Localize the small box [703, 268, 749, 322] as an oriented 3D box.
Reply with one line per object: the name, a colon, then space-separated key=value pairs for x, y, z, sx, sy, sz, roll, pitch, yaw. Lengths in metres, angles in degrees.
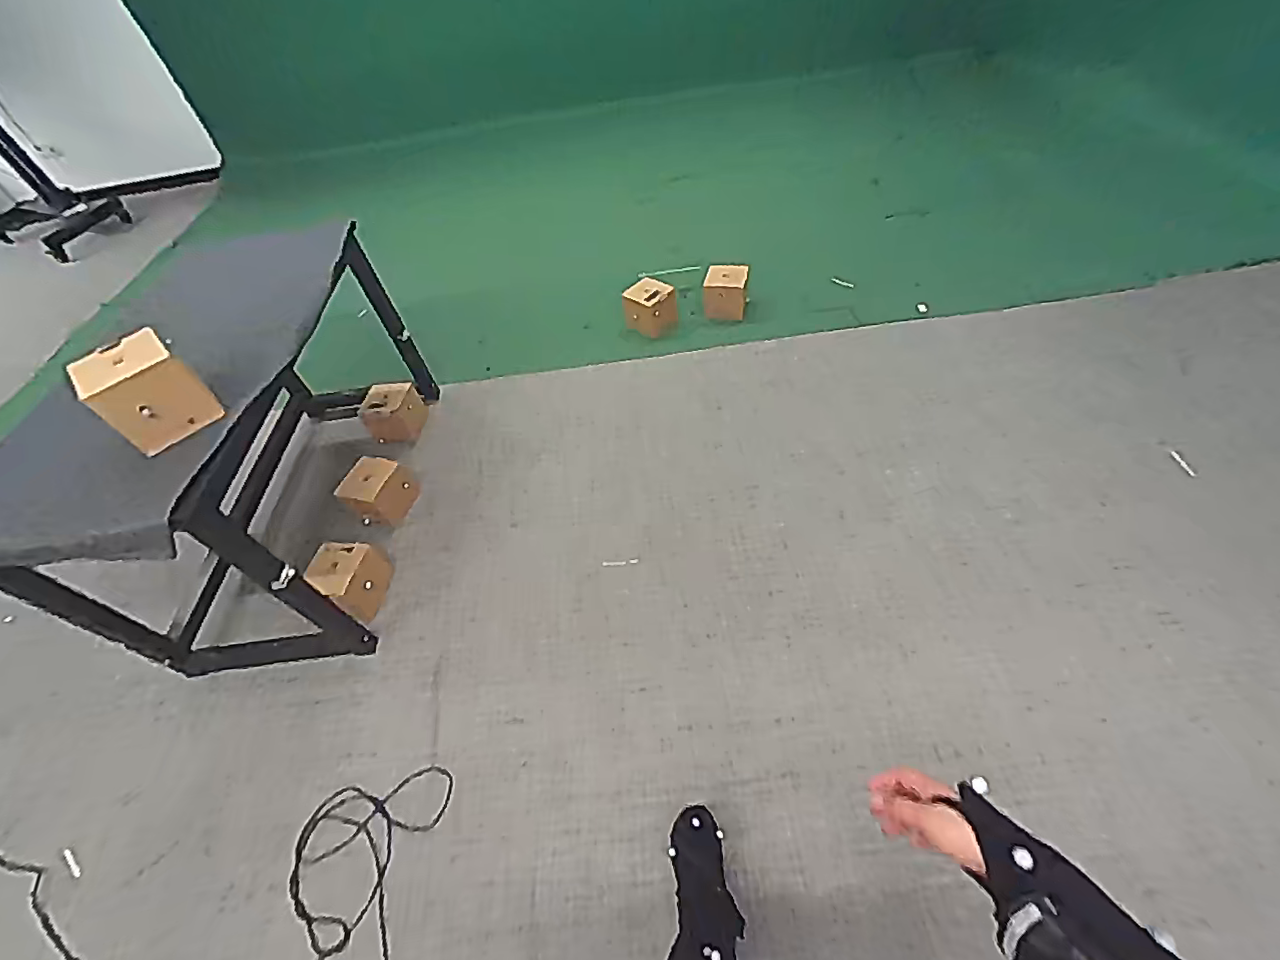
small box: x=0.381 y=-0.817 z=2.393 sx=0.179 sy=0.176 sz=0.168 roll=9 pitch=53 yaw=14

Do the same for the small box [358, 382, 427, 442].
small box: x=-0.972 y=-0.263 z=2.144 sx=0.168 sy=0.176 sz=0.179 roll=-3 pitch=50 yaw=6

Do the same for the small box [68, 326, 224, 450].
small box: x=-1.038 y=-0.190 z=1.149 sx=0.179 sy=0.176 sz=0.168 roll=34 pitch=63 yaw=31

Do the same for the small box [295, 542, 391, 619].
small box: x=-0.902 y=0.312 z=1.664 sx=0.168 sy=0.176 sz=0.179 roll=3 pitch=52 yaw=10

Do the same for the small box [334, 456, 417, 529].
small box: x=-0.910 y=0.044 z=1.884 sx=0.168 sy=0.176 sz=0.179 roll=8 pitch=54 yaw=16
